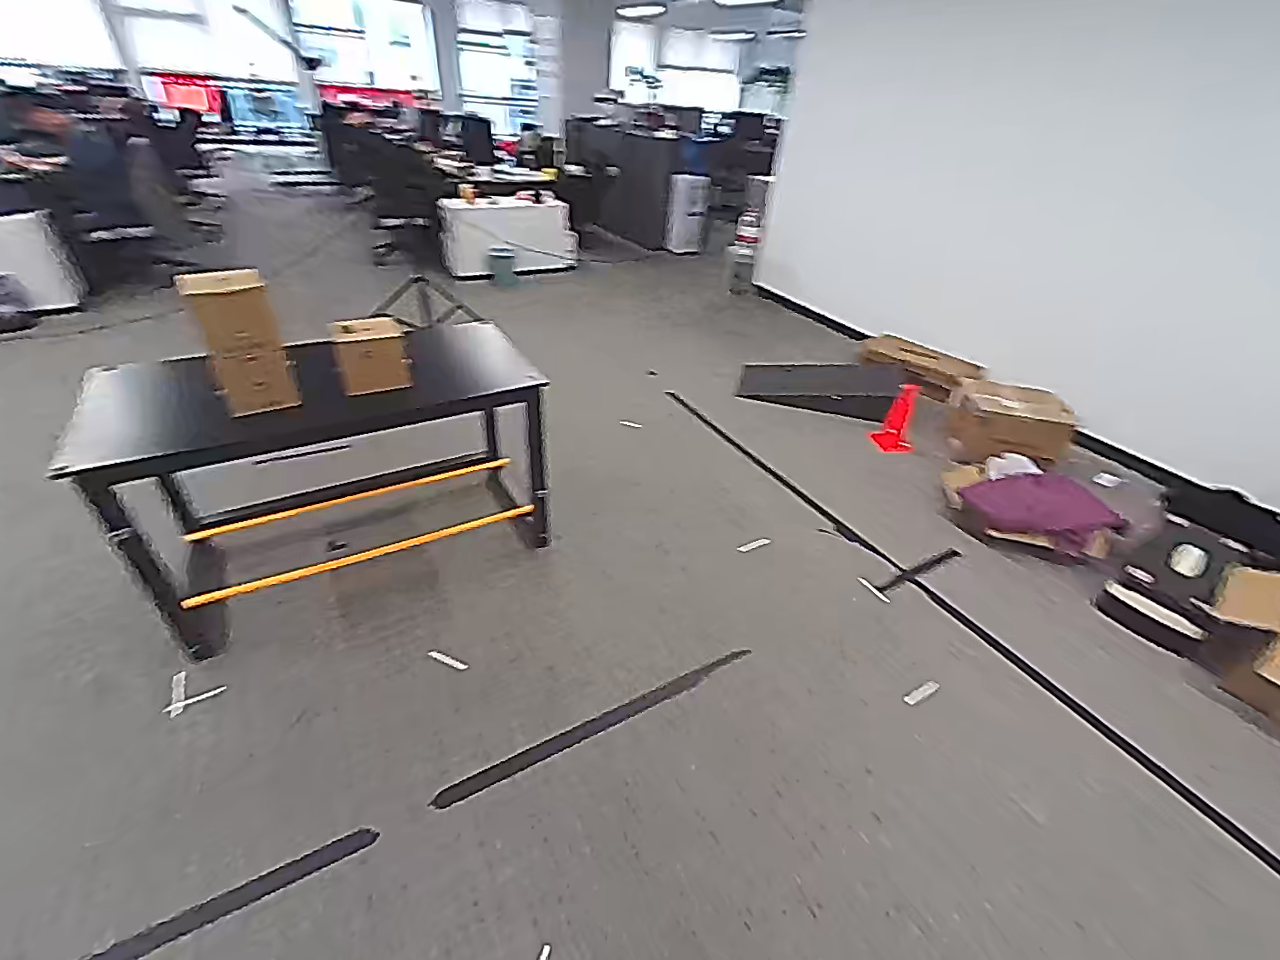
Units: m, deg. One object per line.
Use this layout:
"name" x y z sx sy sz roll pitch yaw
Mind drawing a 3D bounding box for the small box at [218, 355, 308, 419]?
"small box" -1.067 -0.287 1.534 0.168 0.176 0.179 -20 42 -29

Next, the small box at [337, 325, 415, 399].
"small box" -0.811 -0.364 1.668 0.179 0.176 0.168 -15 40 -26

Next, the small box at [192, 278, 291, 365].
"small box" -1.058 -0.424 1.440 0.168 0.176 0.179 -21 43 -30
